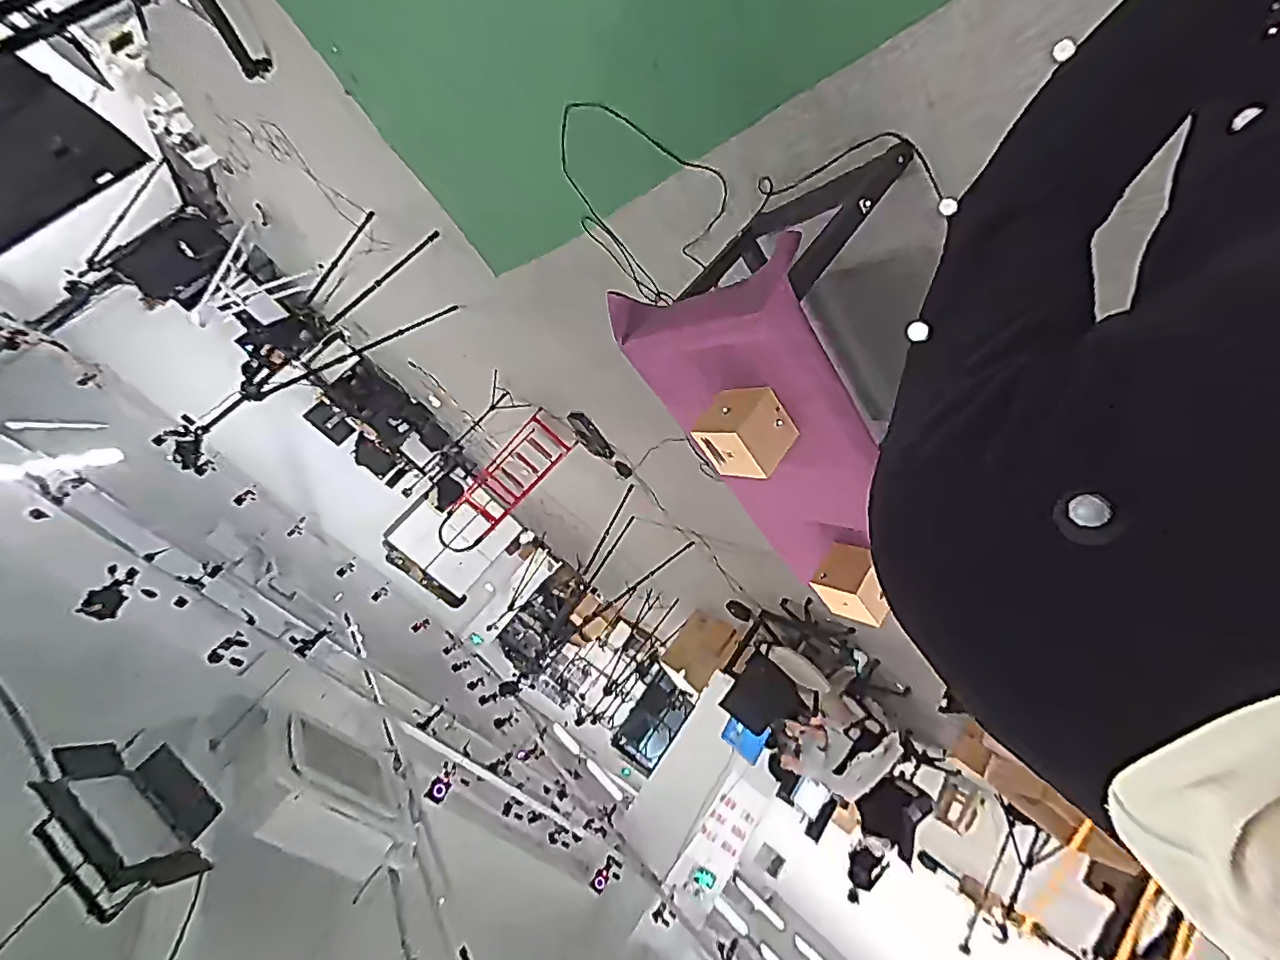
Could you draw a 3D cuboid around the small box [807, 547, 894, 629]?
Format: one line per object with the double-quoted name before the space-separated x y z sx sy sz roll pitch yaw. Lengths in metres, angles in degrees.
"small box" 0.659 0.327 1.674 0.168 0.176 0.179 49 159 -25
